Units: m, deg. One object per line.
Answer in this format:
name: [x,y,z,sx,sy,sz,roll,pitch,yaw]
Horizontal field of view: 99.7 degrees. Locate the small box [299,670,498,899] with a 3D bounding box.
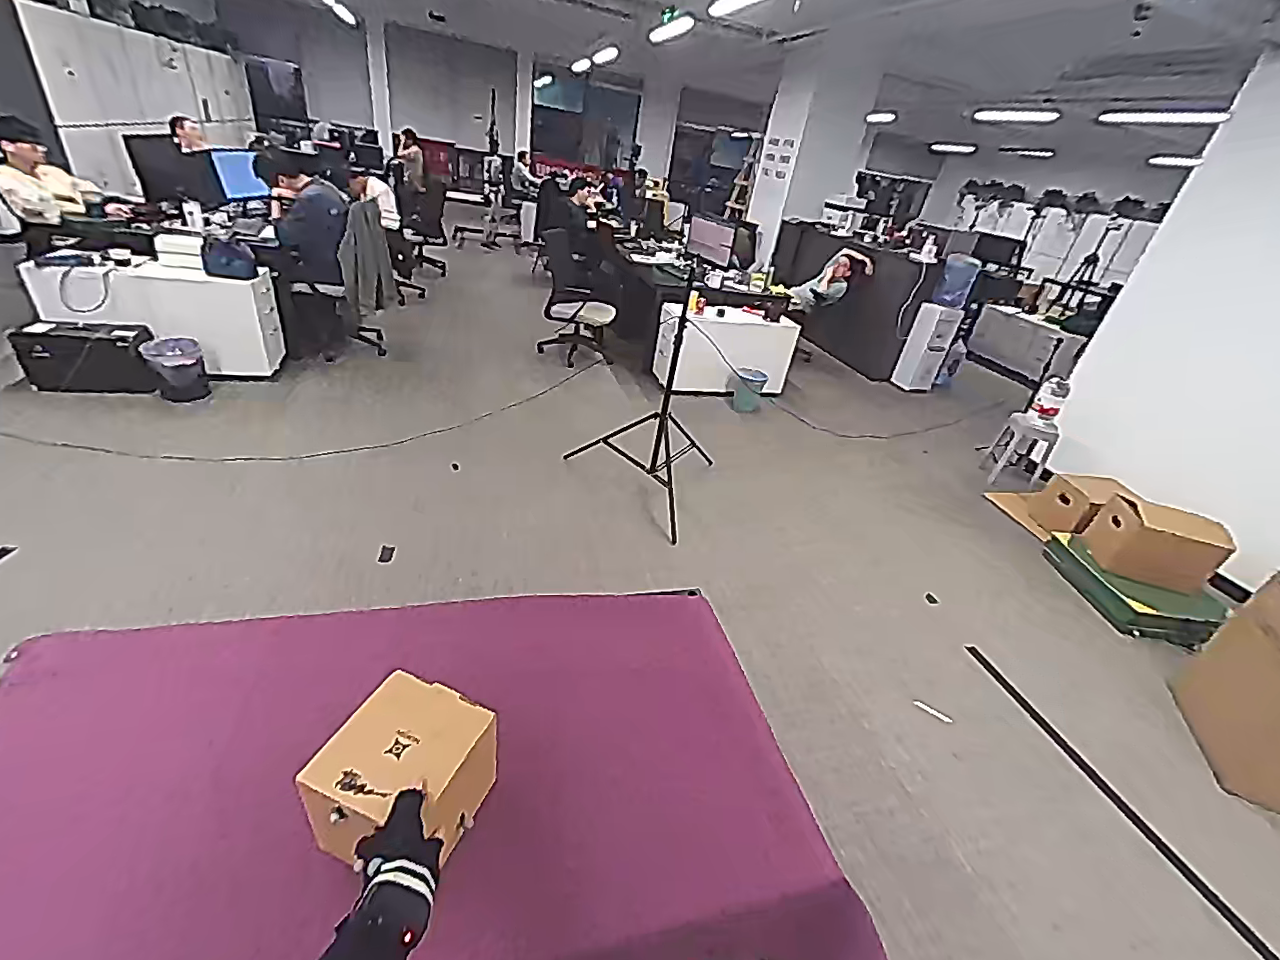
small box: [-0.310,0.400,0.723,0.168,0.176,0.179,17,32,13]
